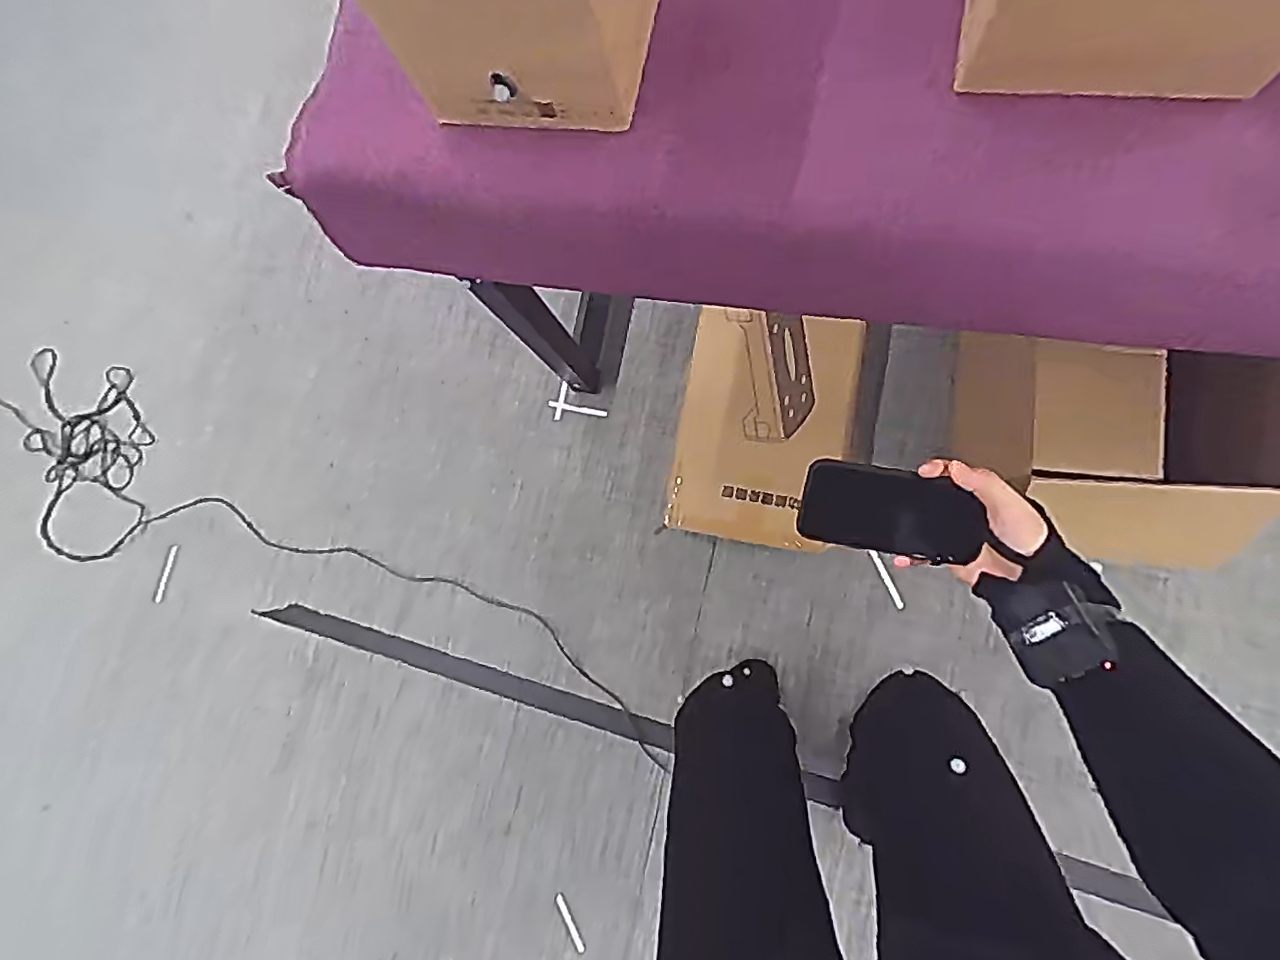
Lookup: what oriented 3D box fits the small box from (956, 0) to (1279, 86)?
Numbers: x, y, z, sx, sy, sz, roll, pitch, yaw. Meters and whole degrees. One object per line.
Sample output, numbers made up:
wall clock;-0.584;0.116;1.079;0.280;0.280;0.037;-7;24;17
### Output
small box;0.301;-0.347;0.284;0.179;0.176;0.168;10;82;11
